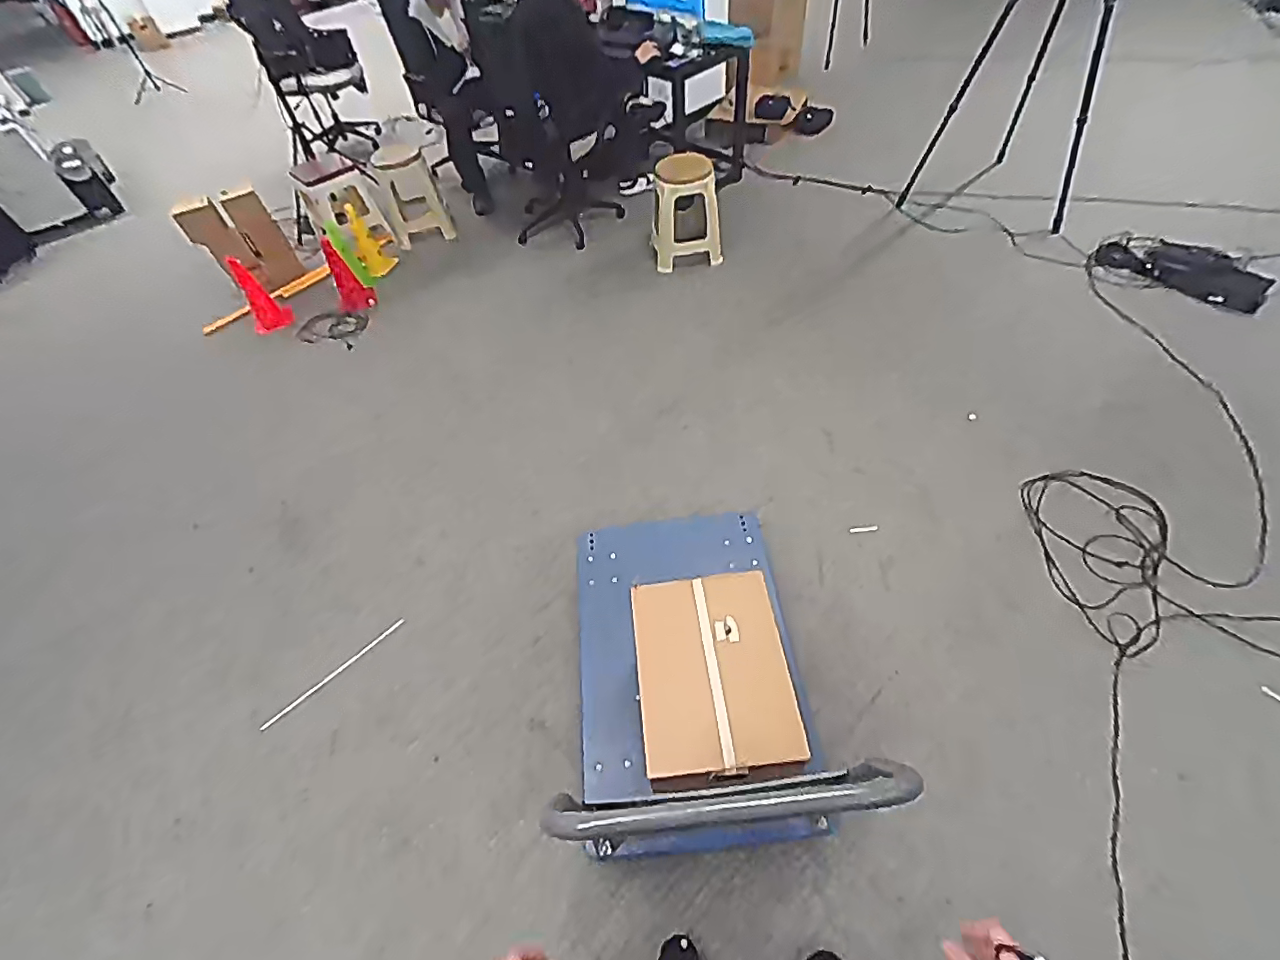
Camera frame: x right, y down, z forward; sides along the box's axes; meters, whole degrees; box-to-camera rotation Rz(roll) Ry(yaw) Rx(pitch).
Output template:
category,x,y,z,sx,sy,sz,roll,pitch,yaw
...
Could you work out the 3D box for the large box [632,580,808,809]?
category,x,y,z,sx,sy,sz,roll,pitch,yaw
large box,0.166,0.502,1.270,0.320,0.320,0.408,-7,51,0
